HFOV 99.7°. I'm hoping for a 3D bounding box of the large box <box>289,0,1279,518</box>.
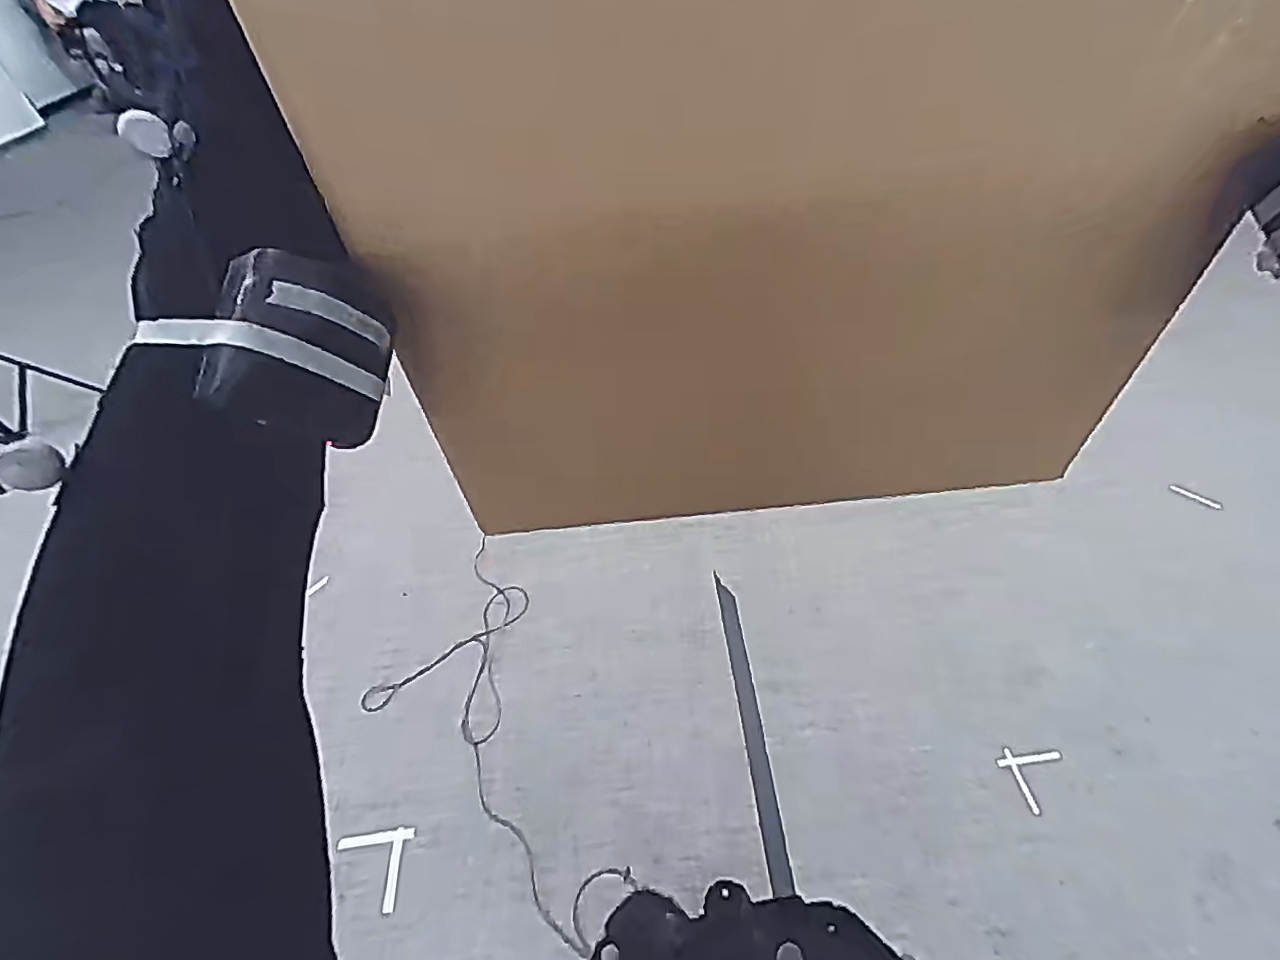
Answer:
[{"bbox_3d":[0.066,-0.201,0.387,0.408,0.320,0.320,-6,46,0],"label":"large box"}]
